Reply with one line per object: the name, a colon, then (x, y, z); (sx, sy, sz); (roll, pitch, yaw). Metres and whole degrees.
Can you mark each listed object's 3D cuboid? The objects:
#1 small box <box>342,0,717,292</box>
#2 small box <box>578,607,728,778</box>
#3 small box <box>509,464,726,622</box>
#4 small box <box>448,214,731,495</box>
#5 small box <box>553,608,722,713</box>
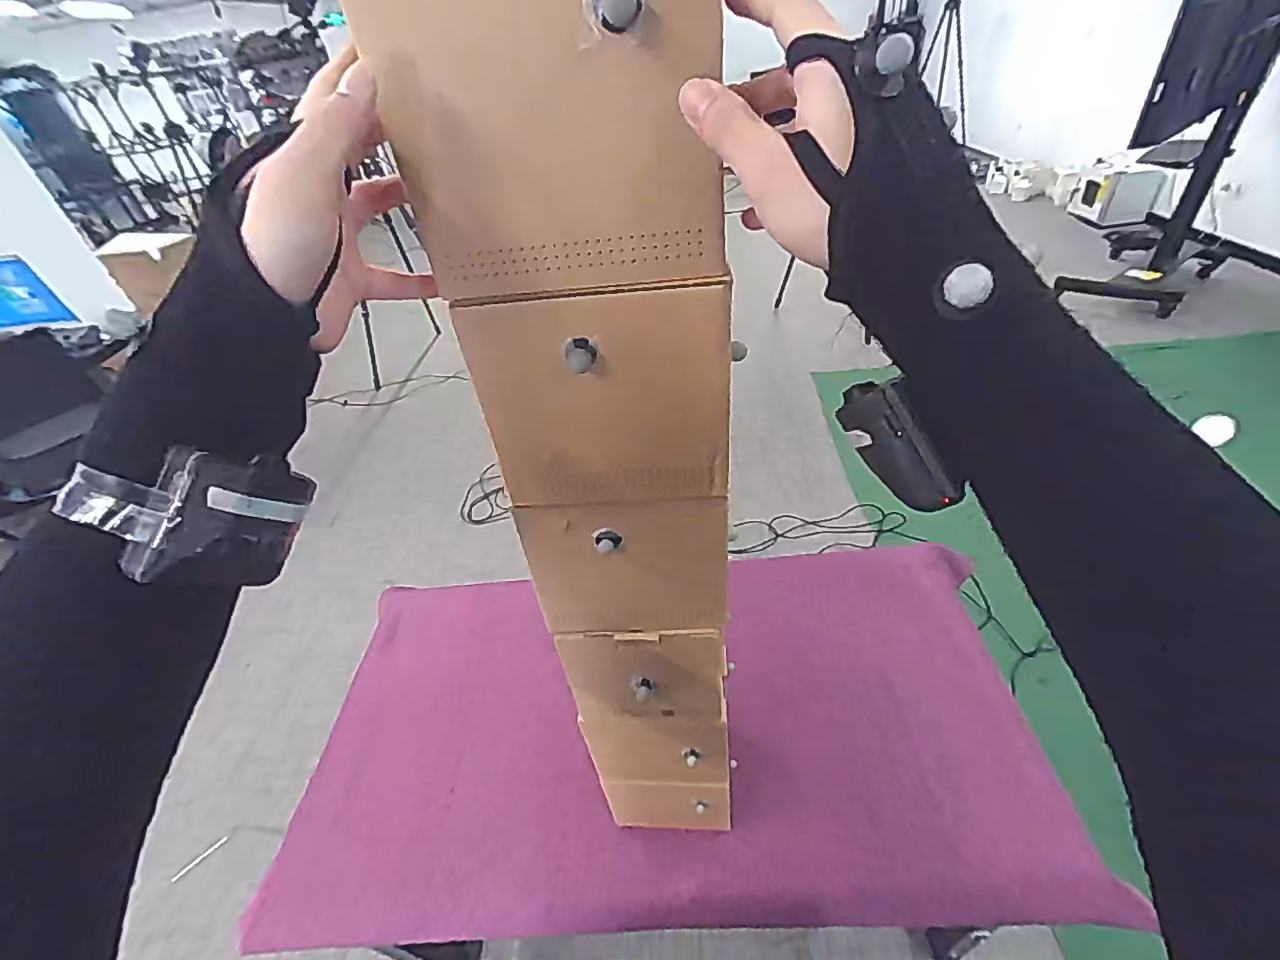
small box: (-0.041, -0.232, 0.339); (0.179, 0.176, 0.168); (-3, 39, 7)
small box: (0.028, 0.284, 0.734); (0.179, 0.176, 0.168); (-3, 39, 8)
small box: (-0.009, 0.026, 0.537); (0.179, 0.176, 0.168); (-3, 39, 5)
small box: (-0.020, -0.102, 0.437); (0.179, 0.176, 0.168); (-4, 39, 7)
small box: (0.010, 0.154, 0.637); (0.168, 0.176, 0.179); (-2, 39, 7)
